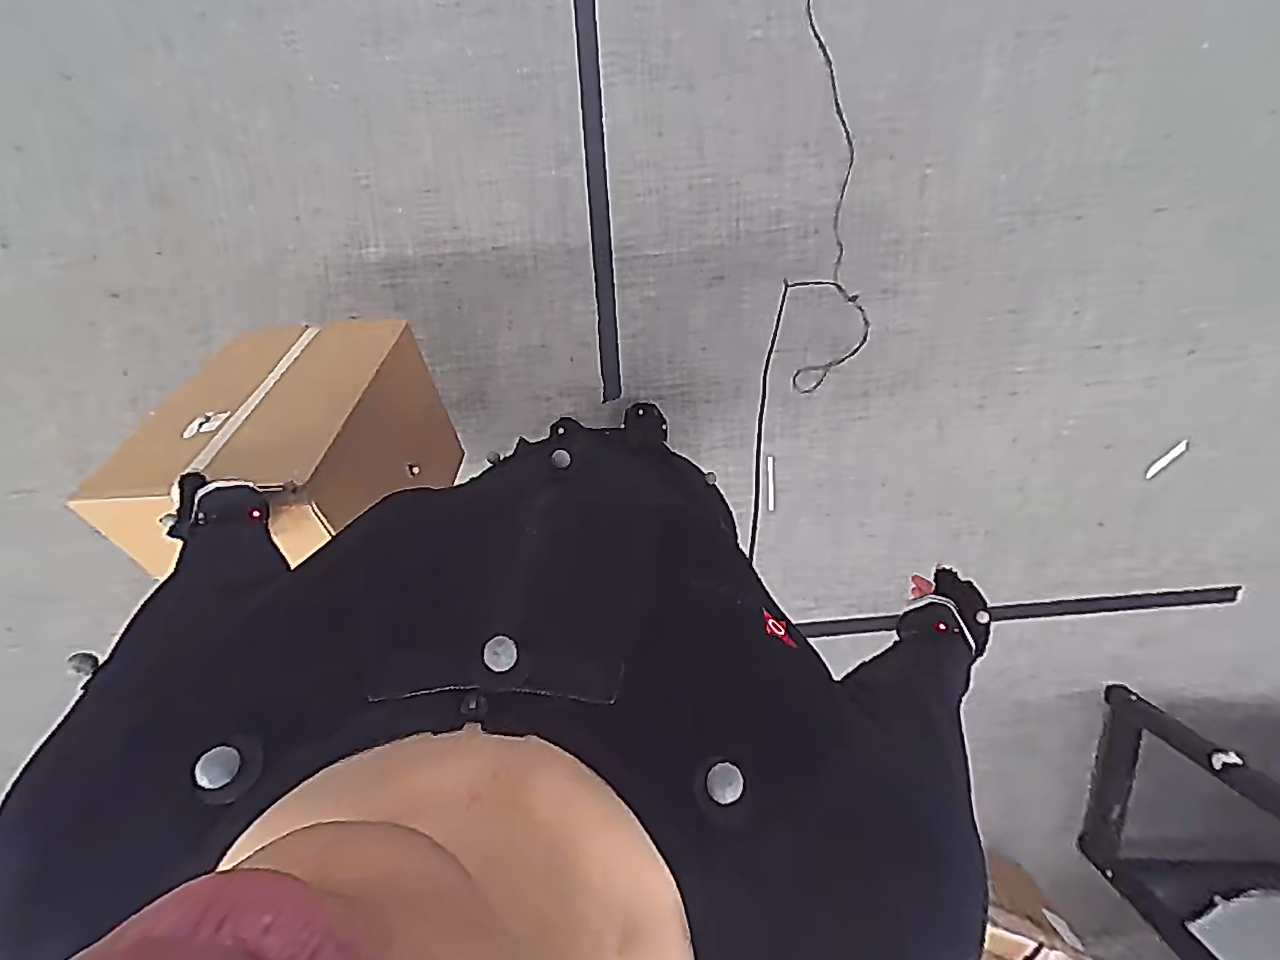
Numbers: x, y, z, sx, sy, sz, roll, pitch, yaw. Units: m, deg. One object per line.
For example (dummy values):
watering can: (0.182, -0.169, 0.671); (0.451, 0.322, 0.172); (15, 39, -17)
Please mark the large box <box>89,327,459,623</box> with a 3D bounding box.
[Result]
large box: (-0.543, -0.015, 0.922); (0.320, 0.408, 0.320); (-4, 135, 5)
